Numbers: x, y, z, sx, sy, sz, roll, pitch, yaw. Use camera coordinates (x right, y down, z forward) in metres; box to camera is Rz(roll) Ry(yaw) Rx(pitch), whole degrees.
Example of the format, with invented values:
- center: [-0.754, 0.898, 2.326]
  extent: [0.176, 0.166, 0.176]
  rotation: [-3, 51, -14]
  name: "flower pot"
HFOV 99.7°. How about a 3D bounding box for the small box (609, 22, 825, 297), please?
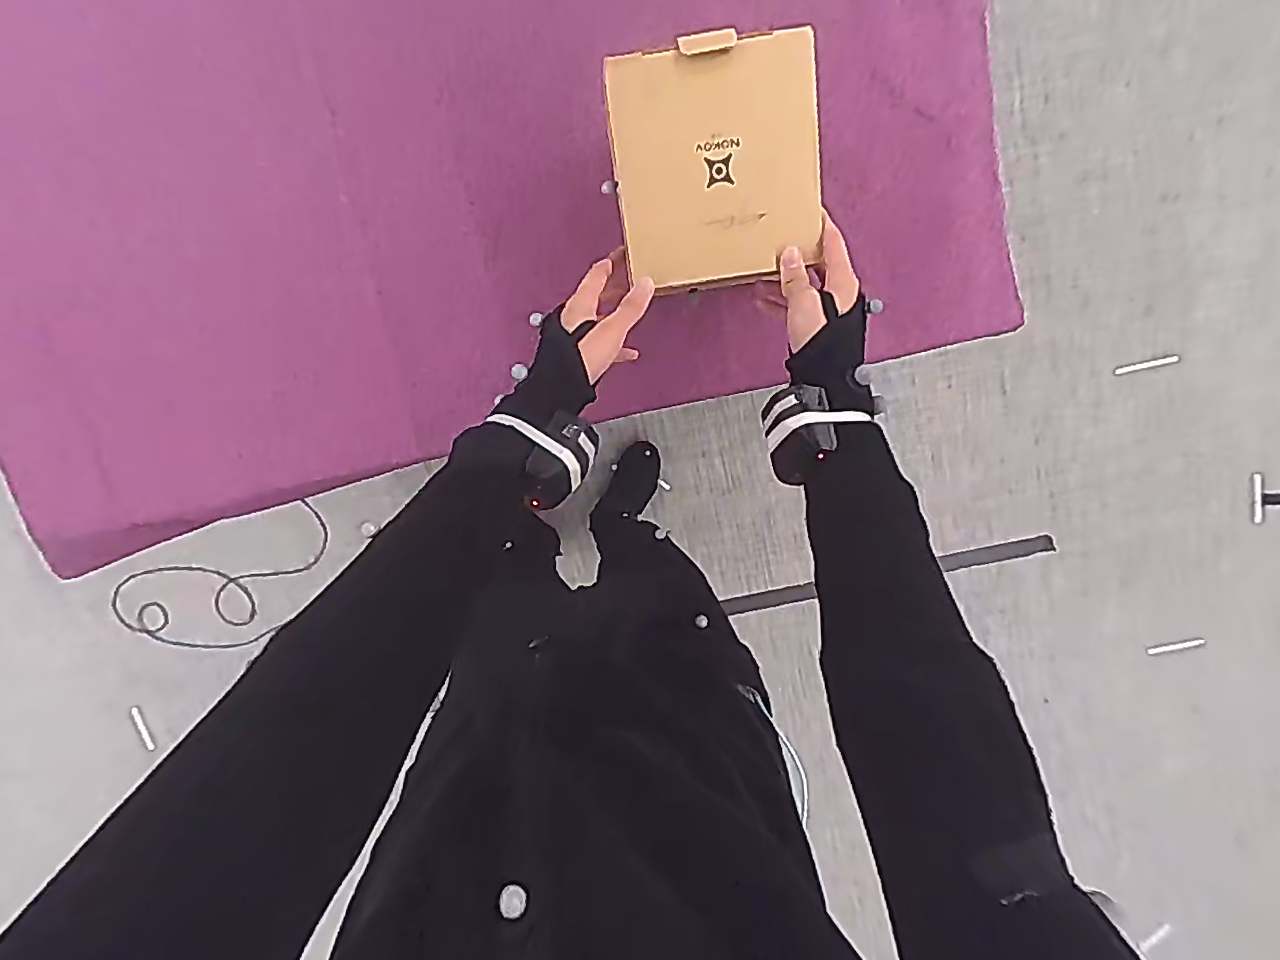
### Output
- center: [0.063, -0.275, 0.508]
  extent: [0.168, 0.176, 0.179]
  rotation: [-7, 106, 1]
  name: "small box"
